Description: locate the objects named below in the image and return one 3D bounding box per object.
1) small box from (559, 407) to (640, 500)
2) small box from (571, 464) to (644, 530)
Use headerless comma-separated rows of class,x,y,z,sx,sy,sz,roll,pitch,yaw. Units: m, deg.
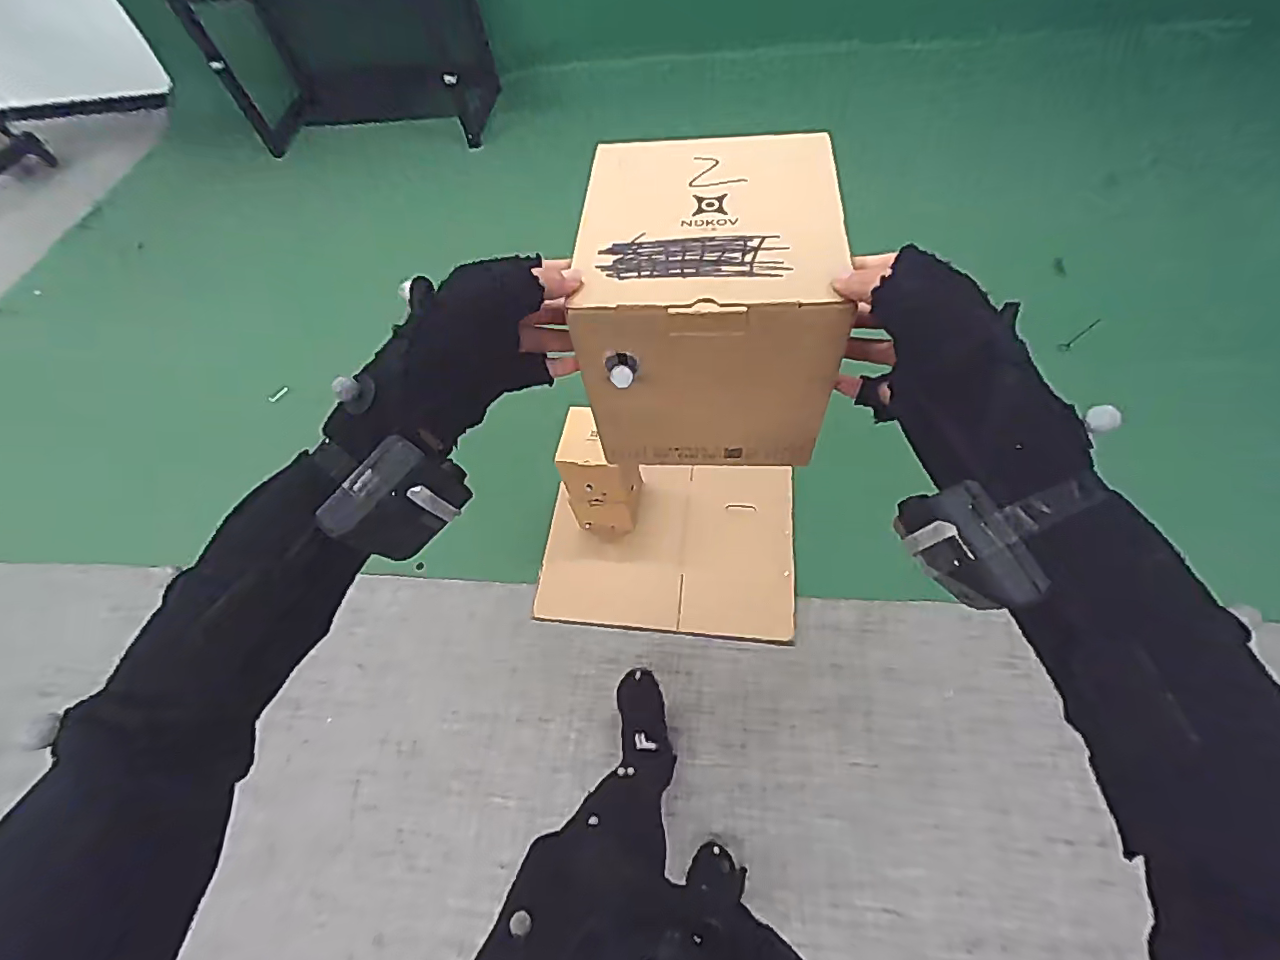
small box,-0.097,-0.067,1.417,0.168,0.176,0.179,5,60,10
small box,-0.085,0.028,1.548,0.168,0.176,0.179,4,58,10
